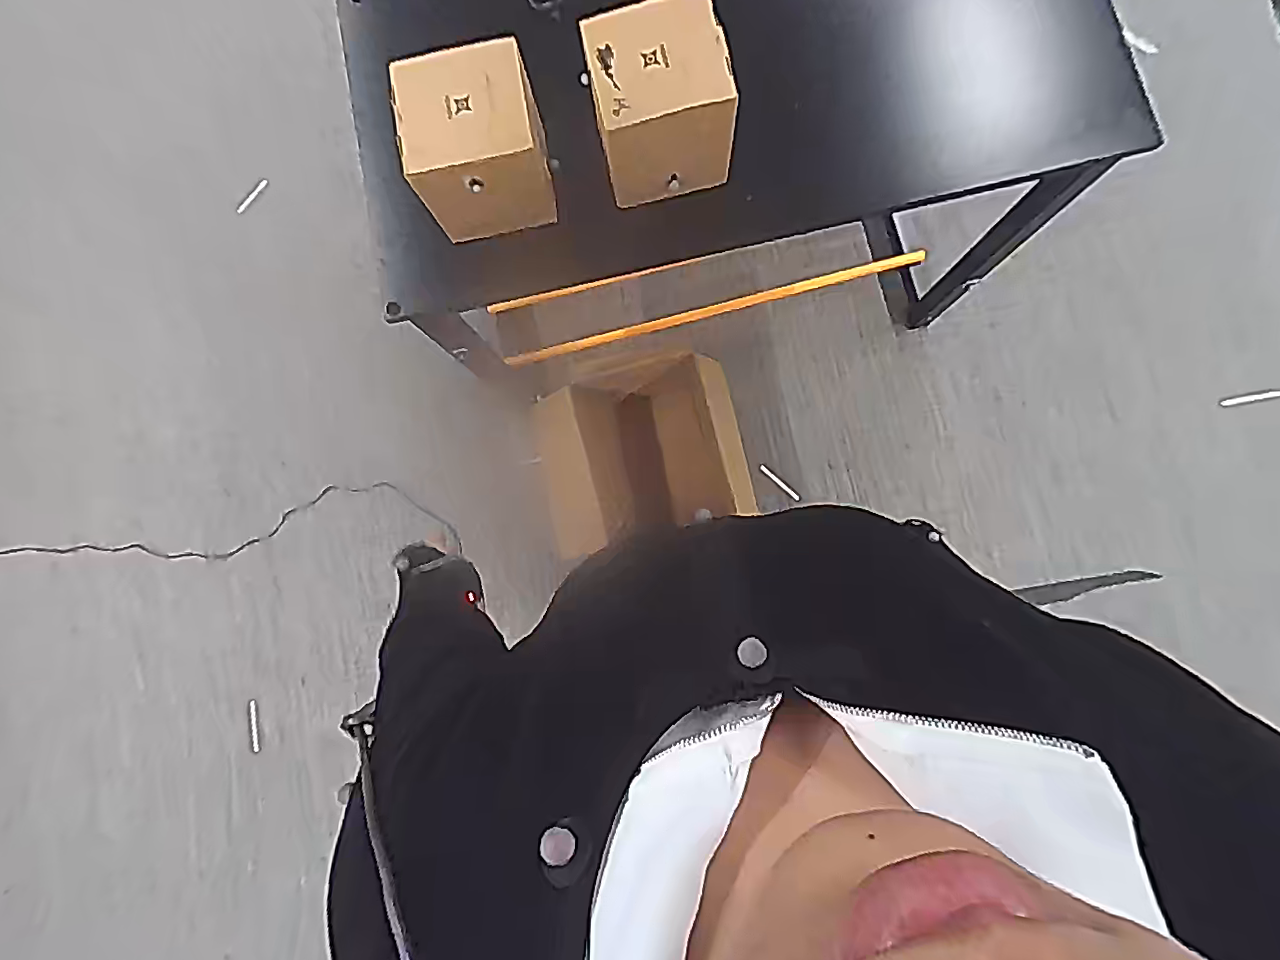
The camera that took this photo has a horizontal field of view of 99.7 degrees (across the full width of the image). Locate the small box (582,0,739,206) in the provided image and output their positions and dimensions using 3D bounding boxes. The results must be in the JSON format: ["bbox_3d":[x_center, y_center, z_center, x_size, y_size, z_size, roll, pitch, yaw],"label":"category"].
[{"bbox_3d":[0.028,-0.528,0.770,0.179,0.176,0.168,-13,83,1],"label":"small box"}]

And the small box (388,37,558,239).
[{"bbox_3d":[-0.231,-0.477,0.781,0.179,0.176,0.168,-11,84,1],"label":"small box"}]
